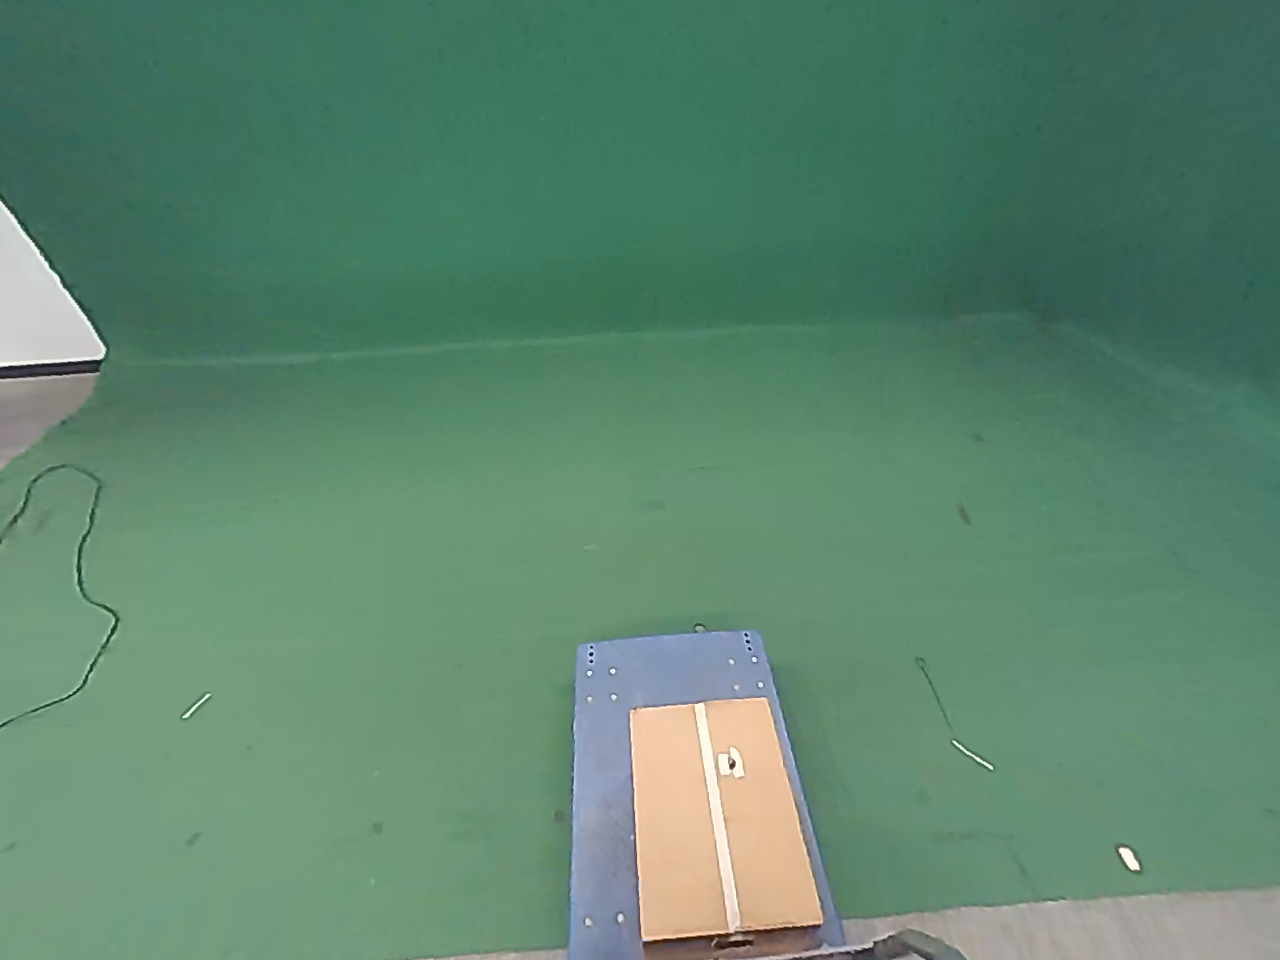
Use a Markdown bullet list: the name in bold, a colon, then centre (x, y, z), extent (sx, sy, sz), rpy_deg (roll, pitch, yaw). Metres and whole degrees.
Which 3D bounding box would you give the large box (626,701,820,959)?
- **large box**: centre (0.145, 0.751, 1.153), extent (0.320, 0.320, 0.408), rpy_deg (-4, 40, -2)
